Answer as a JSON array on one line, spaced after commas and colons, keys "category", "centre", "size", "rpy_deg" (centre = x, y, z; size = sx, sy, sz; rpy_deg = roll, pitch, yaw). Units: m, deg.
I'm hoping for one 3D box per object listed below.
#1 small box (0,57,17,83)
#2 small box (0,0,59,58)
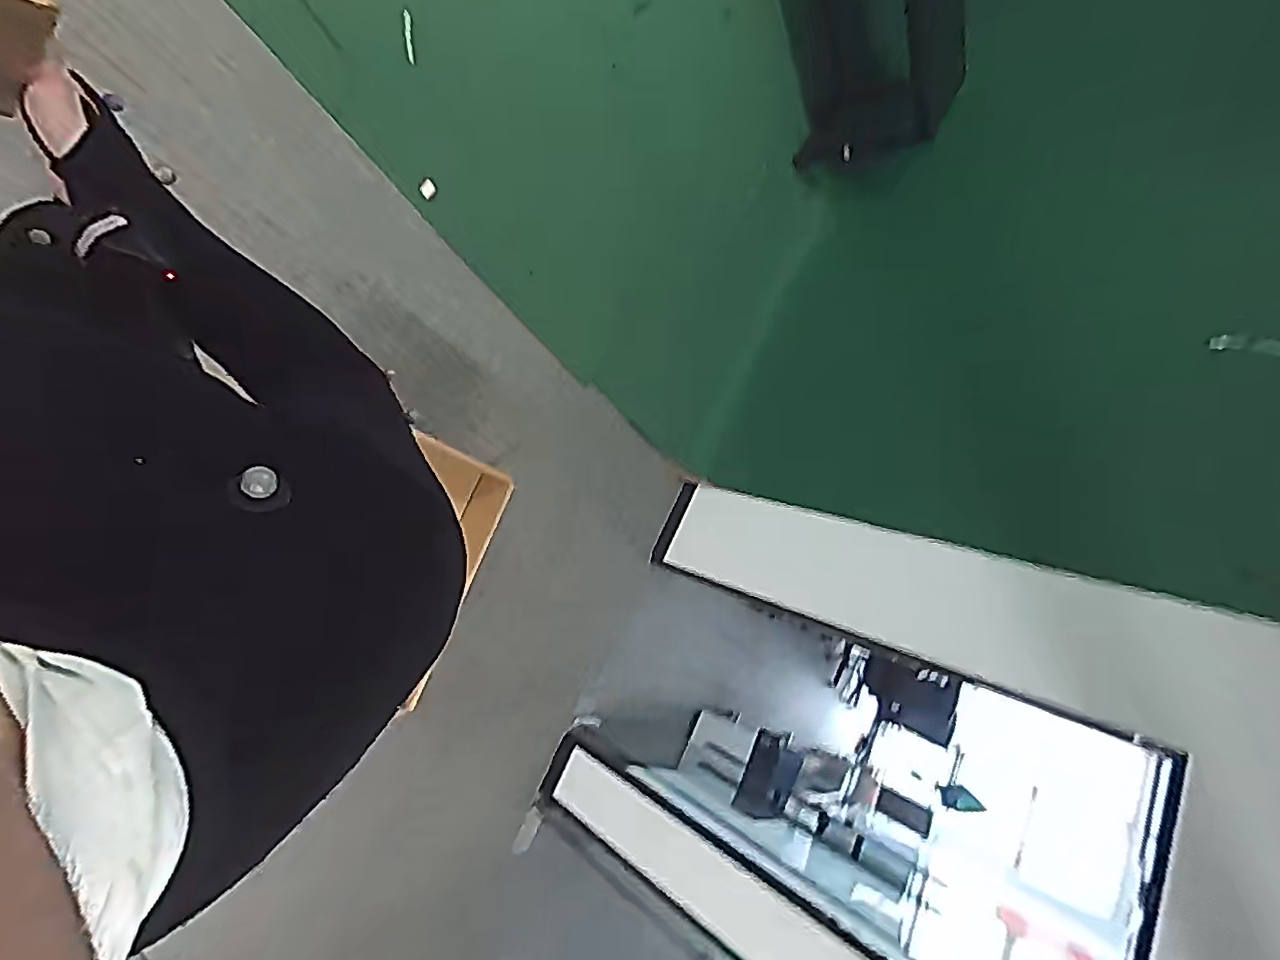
[{"category": "small box", "centre": [-0.490, -0.361, 0.307], "size": [0.168, 0.176, 0.179], "rpy_deg": [-10, 115, -49]}, {"category": "small box", "centre": [-0.367, -0.311, 0.211], "size": [0.168, 0.176, 0.179], "rpy_deg": [-12, 116, -48]}]
